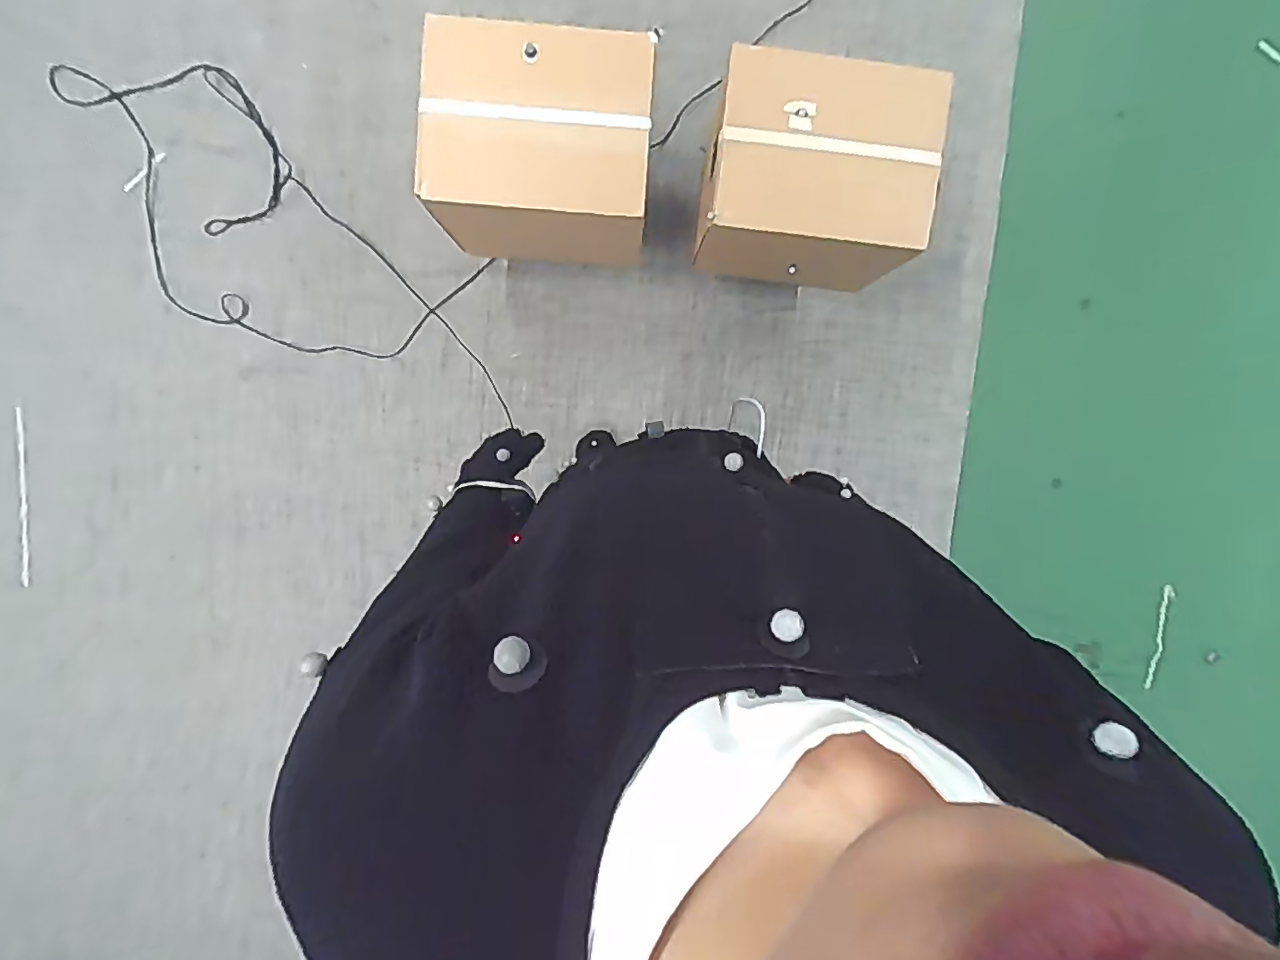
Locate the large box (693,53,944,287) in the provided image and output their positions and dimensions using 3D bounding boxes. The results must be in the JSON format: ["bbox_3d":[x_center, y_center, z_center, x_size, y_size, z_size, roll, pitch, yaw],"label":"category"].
[{"bbox_3d":[0.342,-0.615,1.139,0.408,0.320,0.320,6,95,-2],"label":"large box"}]
